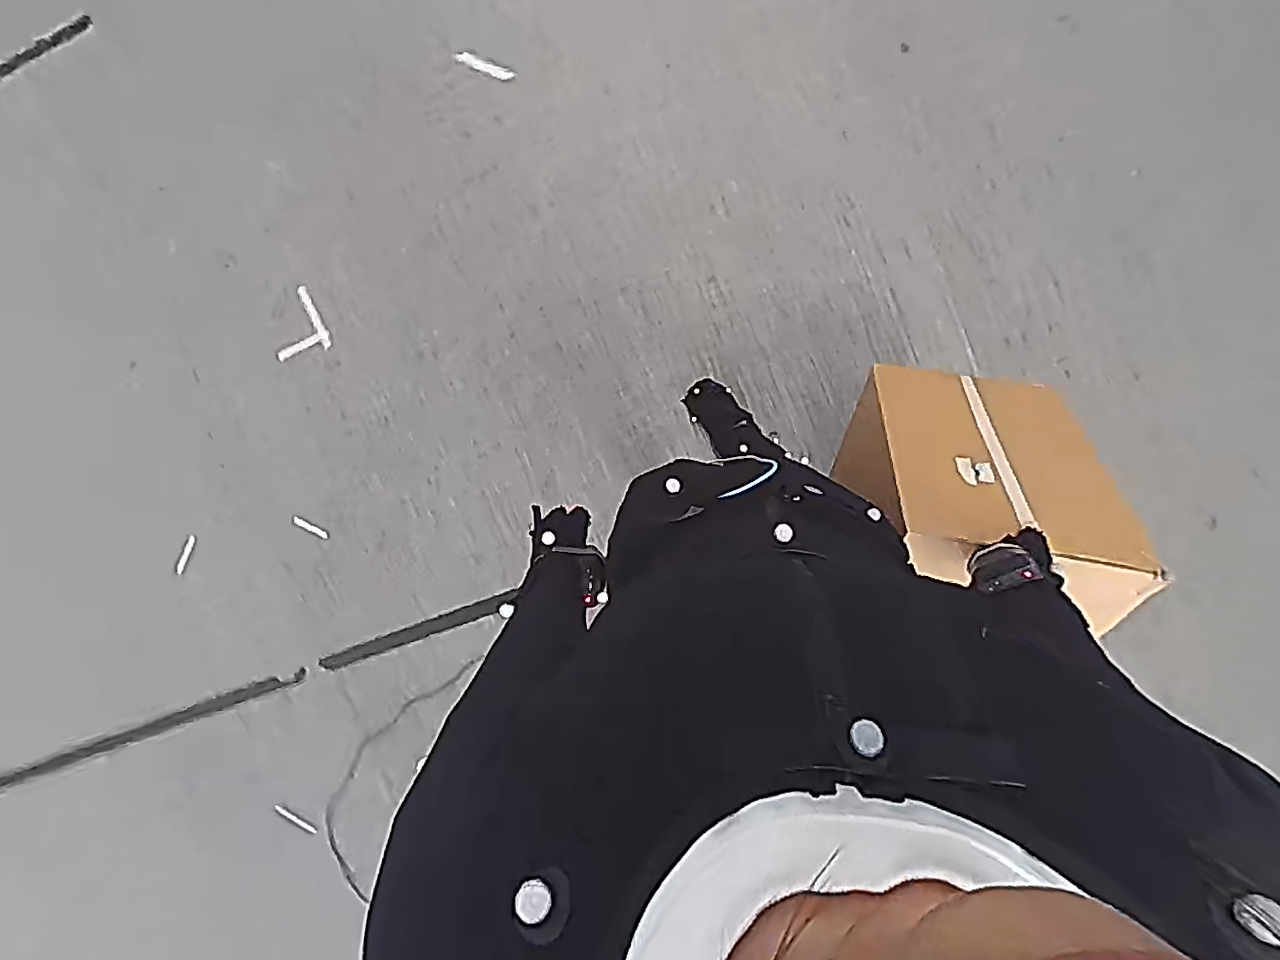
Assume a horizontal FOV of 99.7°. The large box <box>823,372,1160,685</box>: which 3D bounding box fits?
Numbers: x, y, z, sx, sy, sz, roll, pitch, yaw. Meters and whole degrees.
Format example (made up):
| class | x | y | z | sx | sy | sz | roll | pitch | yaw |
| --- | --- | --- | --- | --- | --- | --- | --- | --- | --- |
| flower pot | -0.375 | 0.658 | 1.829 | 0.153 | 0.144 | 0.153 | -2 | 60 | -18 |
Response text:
| class | x | y | z | sx | sy | sz | roll | pitch | yaw |
| --- | --- | --- | --- | --- | --- | --- | --- | --- | --- |
| large box | 0.519 | 0.071 | 0.922 | 0.320 | 0.408 | 0.320 | 9 | 135 | 7 |
